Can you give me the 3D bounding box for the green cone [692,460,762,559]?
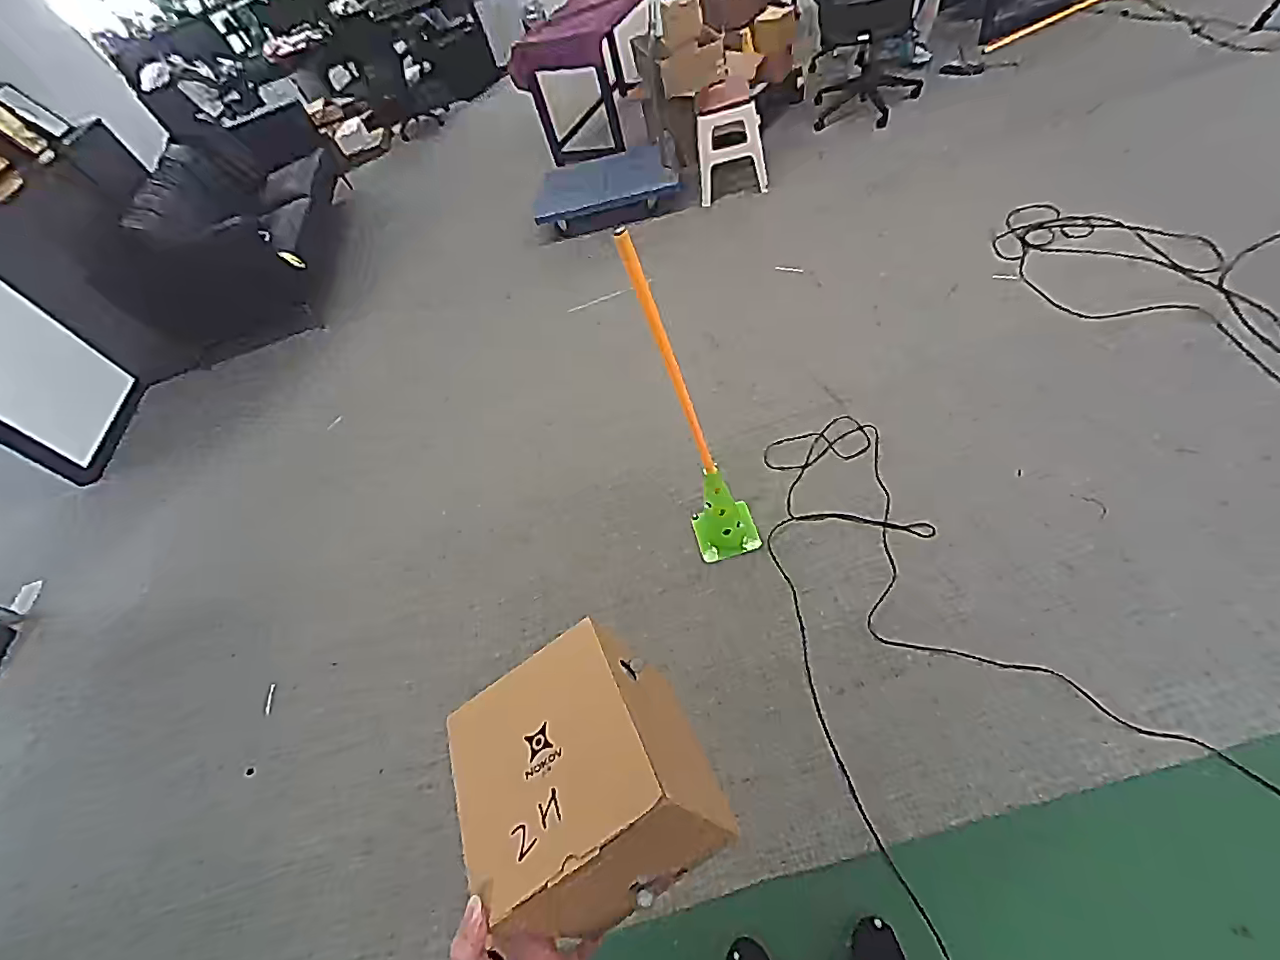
[{"bbox_3d":[0.250,0.065,1.689,0.202,0.368,0.200,-17,52,3],"label":"green cone"}]
